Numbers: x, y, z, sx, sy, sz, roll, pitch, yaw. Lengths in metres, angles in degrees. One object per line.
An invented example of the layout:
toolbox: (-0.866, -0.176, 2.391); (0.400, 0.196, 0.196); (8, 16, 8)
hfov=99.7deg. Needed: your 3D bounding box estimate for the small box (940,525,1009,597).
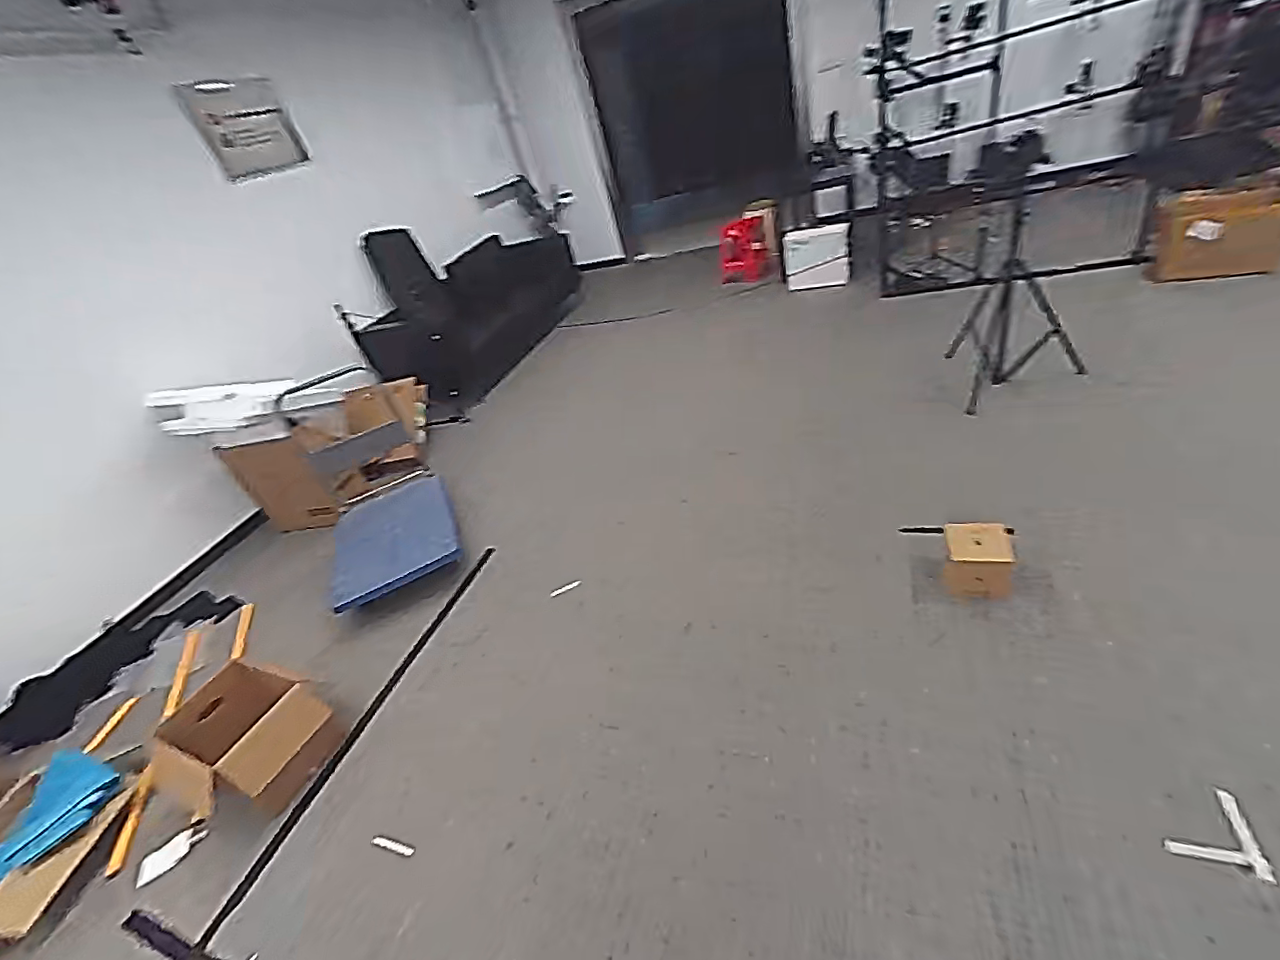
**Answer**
small box: (1.087, 0.266, 1.769); (0.168, 0.176, 0.179); (-2, 36, 22)
